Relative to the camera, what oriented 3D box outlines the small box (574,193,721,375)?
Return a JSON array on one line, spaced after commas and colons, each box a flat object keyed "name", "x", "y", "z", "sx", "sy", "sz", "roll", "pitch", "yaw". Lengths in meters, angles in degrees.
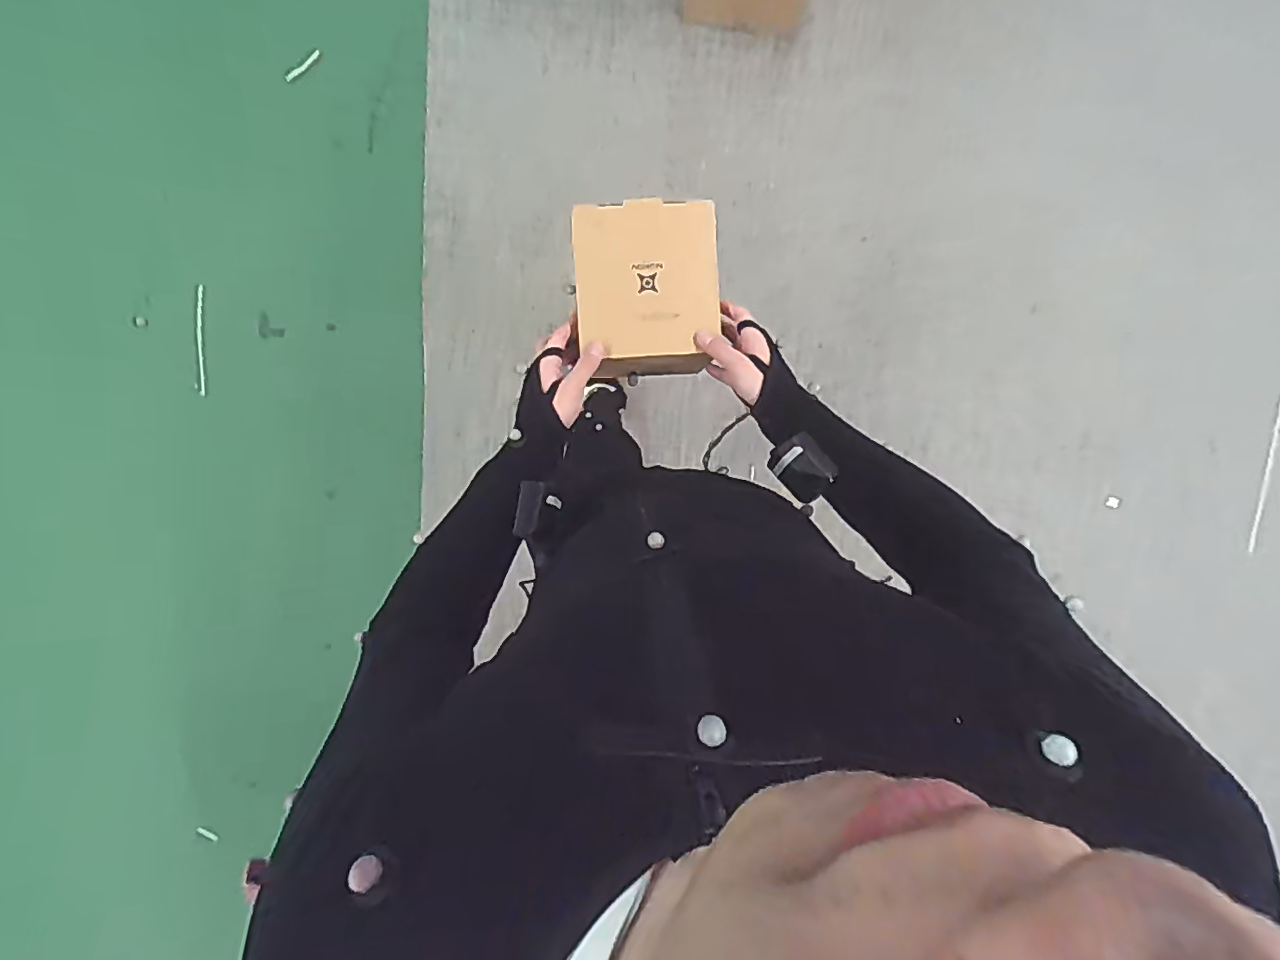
[{"name": "small box", "x": 0.004, "y": -0.236, "z": 0.687, "sx": 0.168, "sy": 0.176, "sz": 0.179, "roll": -2, "pitch": 92, "yaw": -3}]
